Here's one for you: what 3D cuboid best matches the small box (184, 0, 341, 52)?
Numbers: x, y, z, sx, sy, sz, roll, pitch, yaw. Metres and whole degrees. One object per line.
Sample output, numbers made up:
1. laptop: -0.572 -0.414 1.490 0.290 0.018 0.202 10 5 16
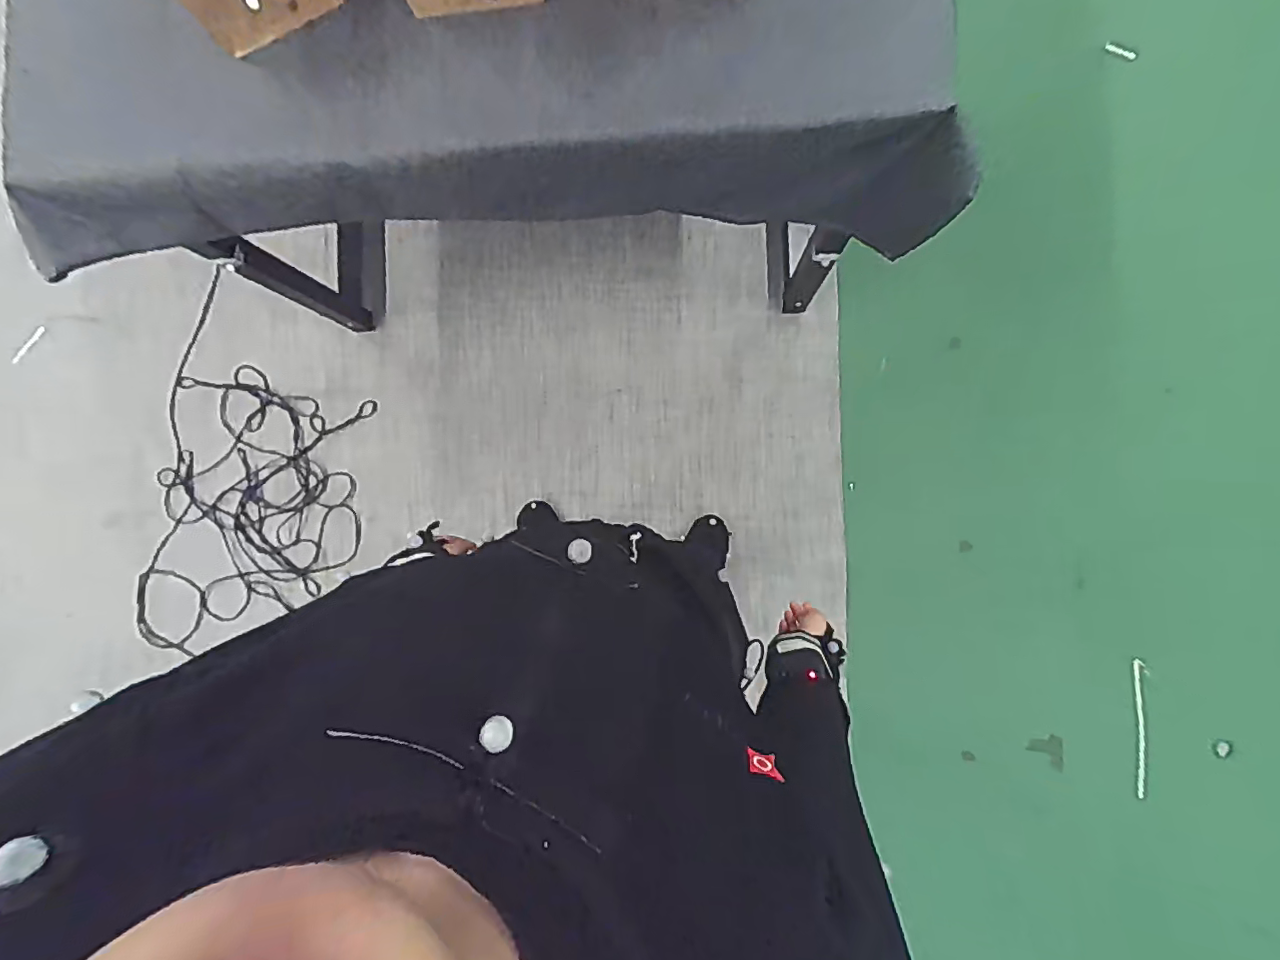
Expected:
1. small box: -0.483 -0.651 0.610 0.168 0.176 0.179 -25 87 3
